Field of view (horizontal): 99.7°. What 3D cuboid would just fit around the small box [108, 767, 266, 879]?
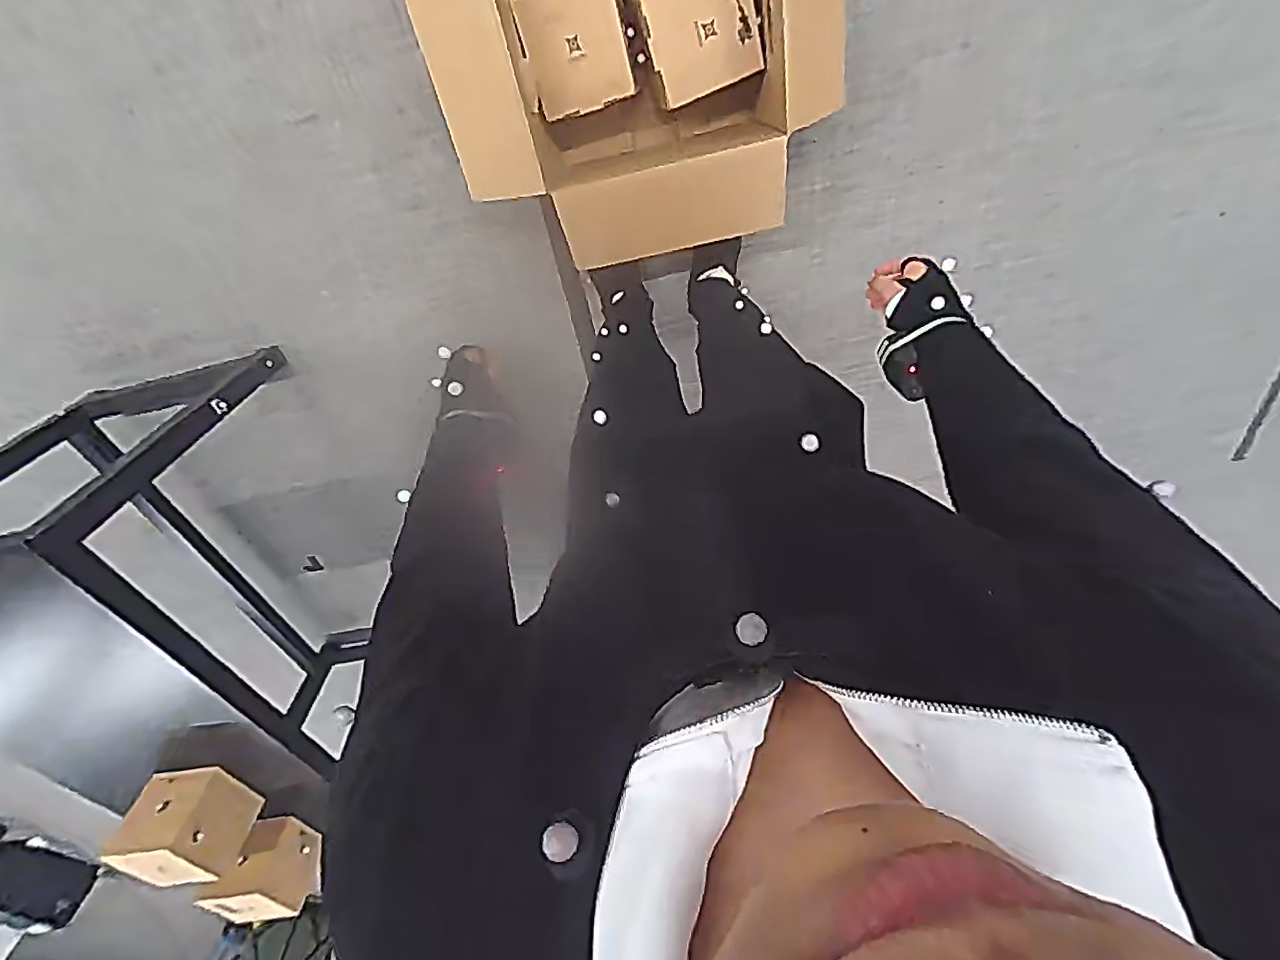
[{"bbox_3d":[-1.003,0.766,1.218,0.168,0.176,0.179,-10,127,8],"label":"small box"}]

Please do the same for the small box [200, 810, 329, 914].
[{"bbox_3d":[-0.944,0.971,1.378,0.179,0.176,0.168,-12,127,8],"label":"small box"}]
